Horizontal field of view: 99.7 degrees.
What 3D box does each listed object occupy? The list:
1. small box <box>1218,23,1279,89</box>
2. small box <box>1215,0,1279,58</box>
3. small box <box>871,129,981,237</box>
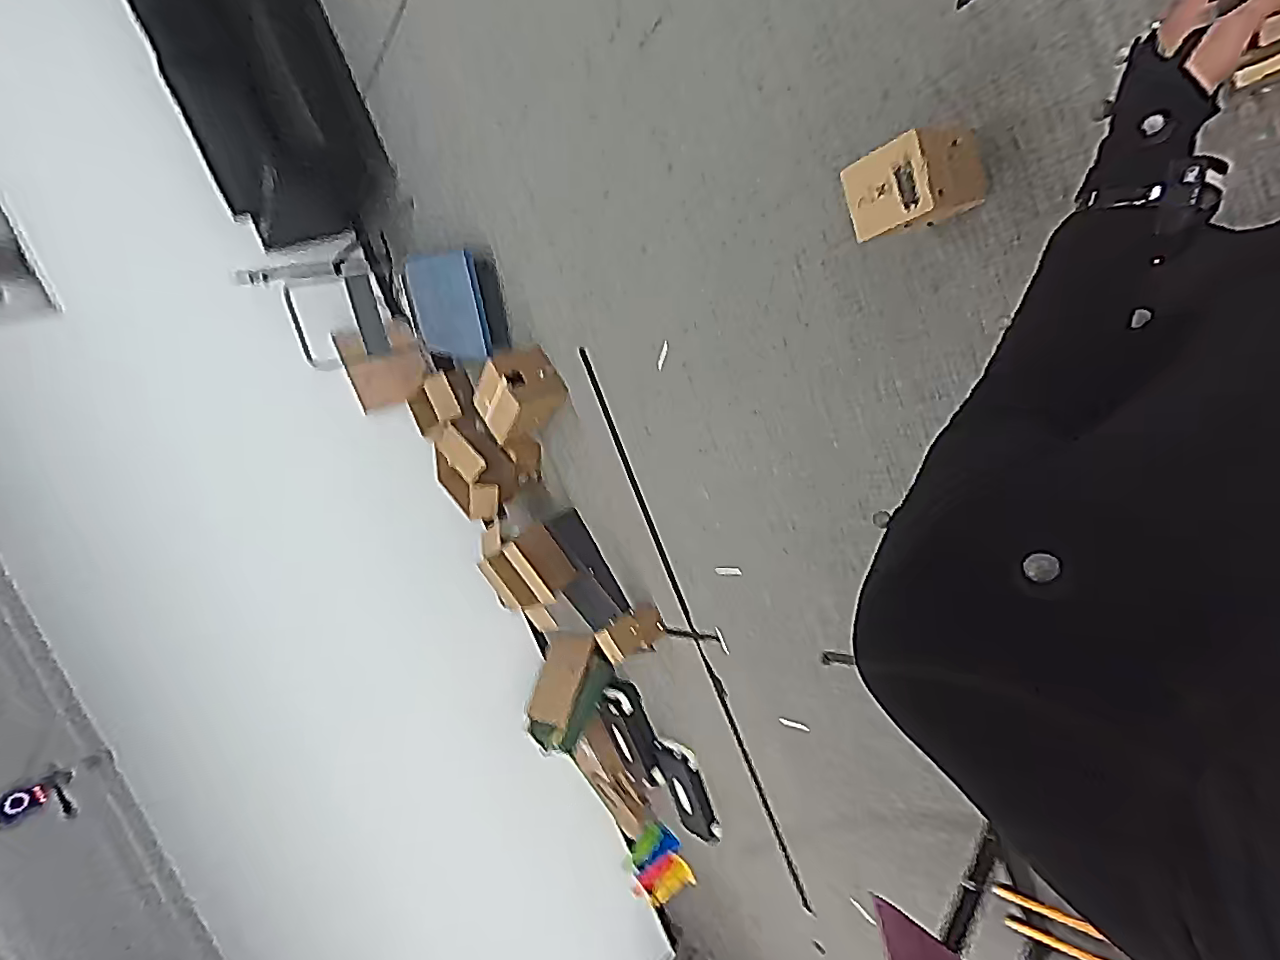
[{"bbox_3d":[1.054,-0.765,0.866,0.168,0.176,0.179,-8,105,51],"label":"small box"},{"bbox_3d":[0.548,-0.448,0.395,0.168,0.176,0.179,-6,109,44],"label":"small box"},{"bbox_3d":[0.700,-0.721,1.315,0.168,0.176,0.179,-10,103,52],"label":"small box"}]
